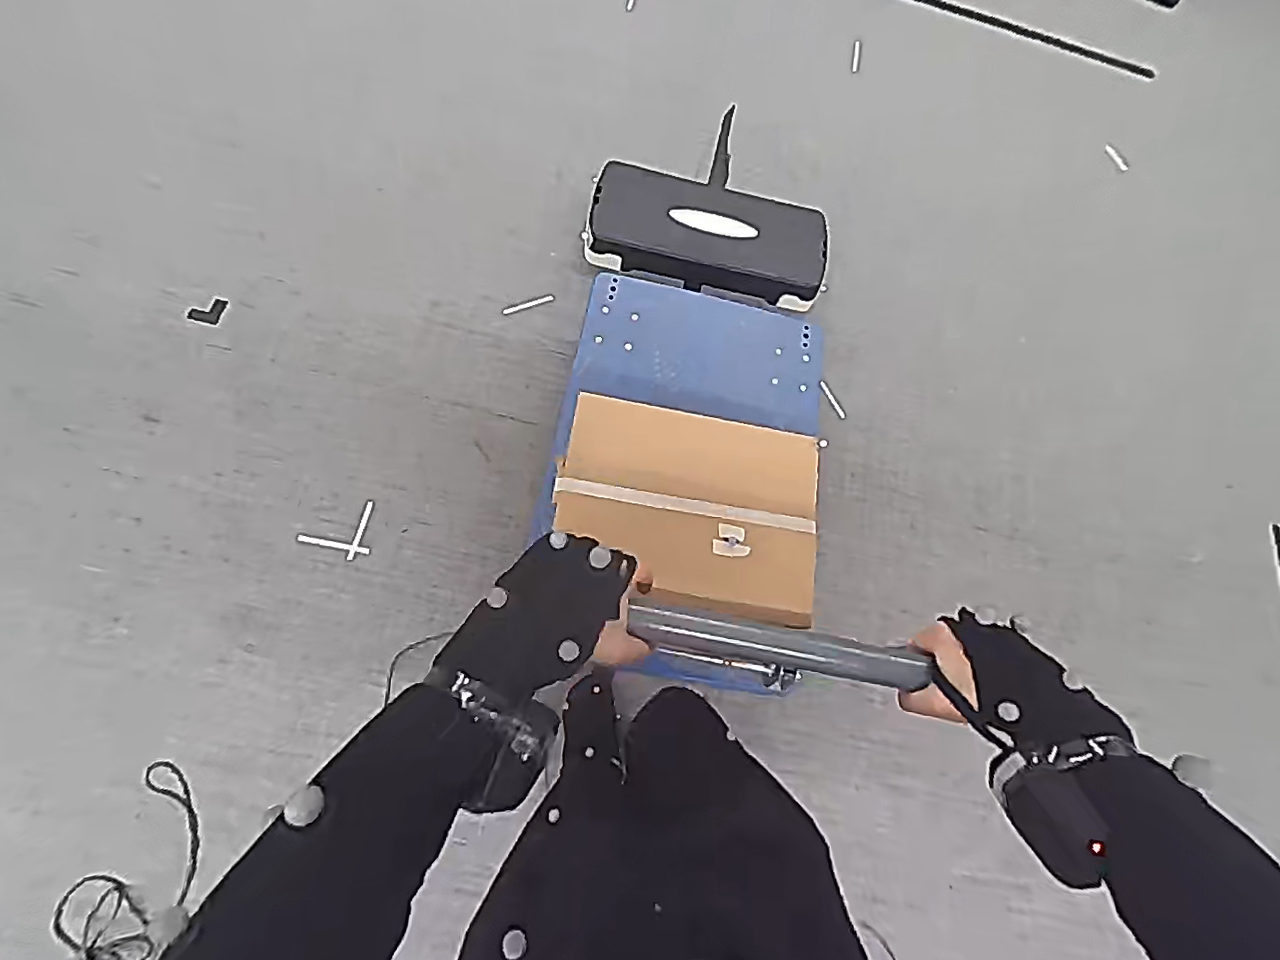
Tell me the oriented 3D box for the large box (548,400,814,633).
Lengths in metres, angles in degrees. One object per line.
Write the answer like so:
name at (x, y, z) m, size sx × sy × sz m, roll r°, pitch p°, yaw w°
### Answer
large box at (0.055, 0.090, 0.977) m, size 0.408 × 0.320 × 0.320 m, roll 10°, pitch 72°, yaw -6°
